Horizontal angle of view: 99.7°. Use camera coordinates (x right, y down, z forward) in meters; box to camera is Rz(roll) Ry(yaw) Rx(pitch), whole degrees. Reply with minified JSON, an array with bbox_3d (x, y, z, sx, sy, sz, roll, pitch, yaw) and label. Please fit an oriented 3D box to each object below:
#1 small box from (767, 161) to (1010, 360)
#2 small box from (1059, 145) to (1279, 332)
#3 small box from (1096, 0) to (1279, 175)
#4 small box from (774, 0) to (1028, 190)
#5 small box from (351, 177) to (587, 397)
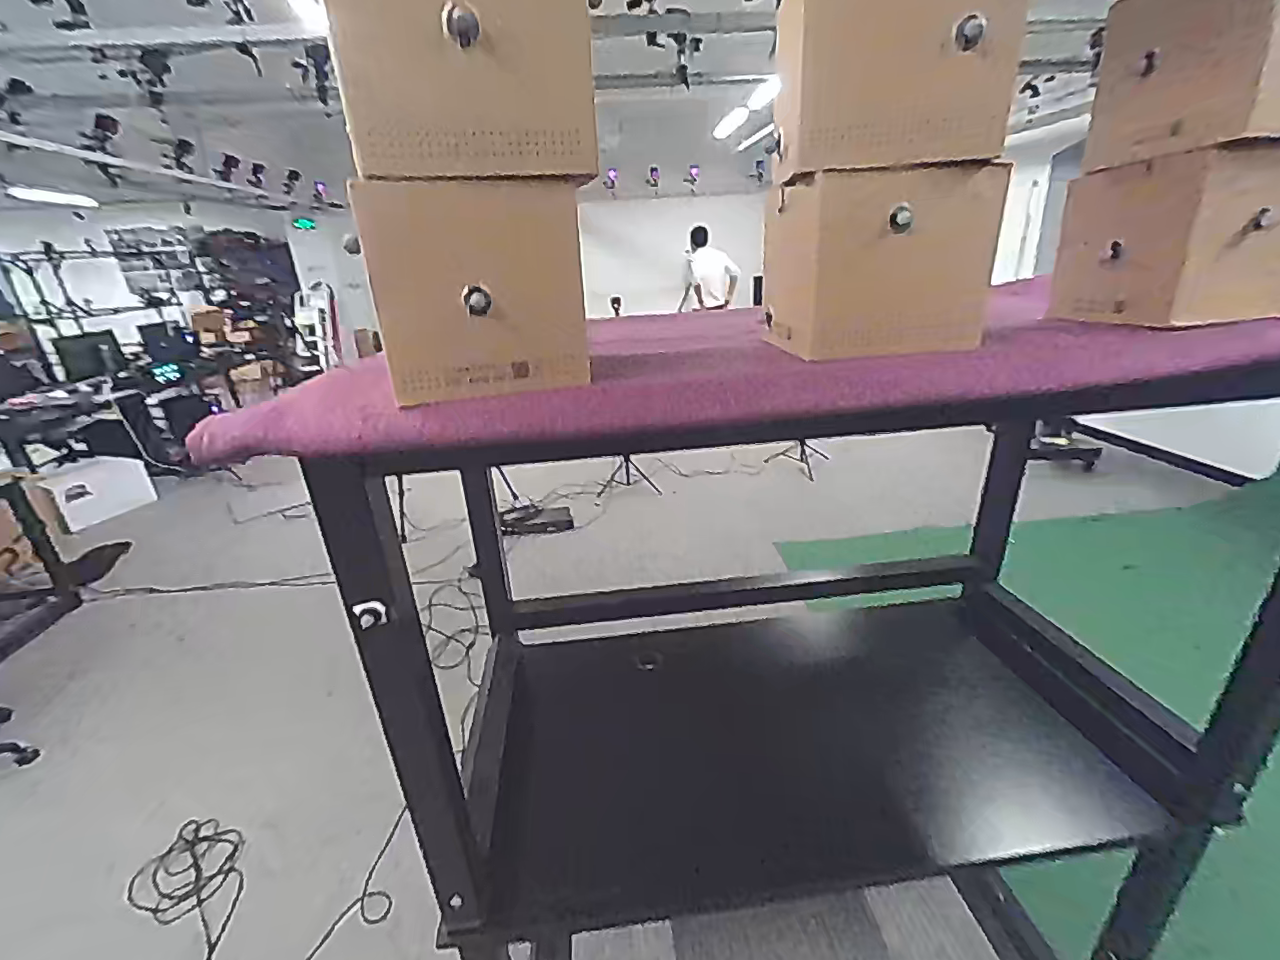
[{"bbox_3d":[0.240,-0.225,0.573,0.179,0.176,0.168,-4,23,-3],"label":"small box"},{"bbox_3d":[0.616,-0.264,0.608,0.179,0.176,0.168,-6,21,-3],"label":"small box"},{"bbox_3d":[0.606,-0.412,0.539,0.179,0.176,0.168,-6,20,-3],"label":"small box"},{"bbox_3d":[0.227,-0.374,0.509,0.179,0.176,0.168,-2,22,6],"label":"small box"},{"bbox_3d":[-0.149,-0.178,0.506,0.168,0.176,0.179,-9,24,-16],"label":"small box"}]
